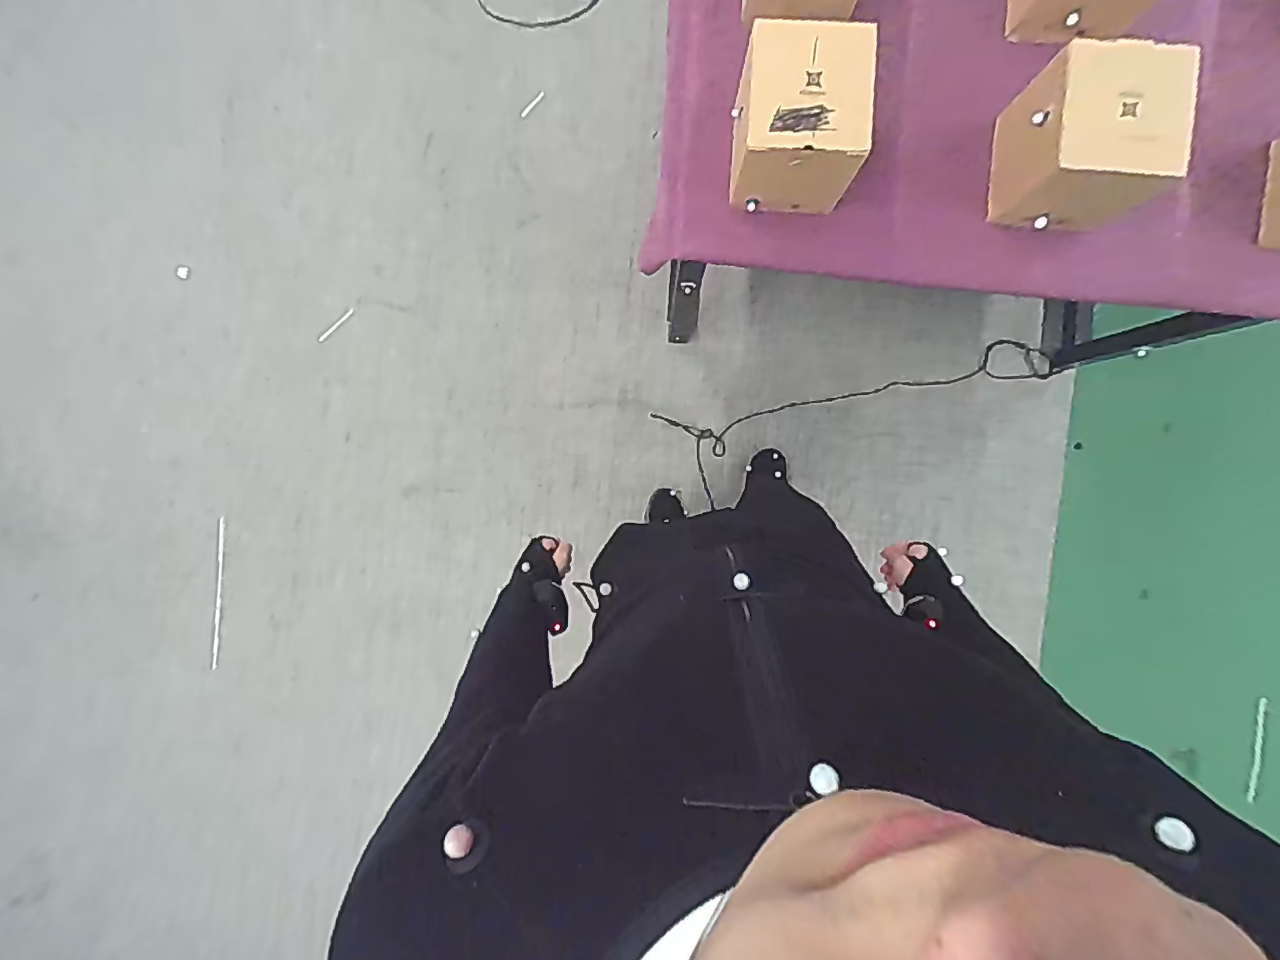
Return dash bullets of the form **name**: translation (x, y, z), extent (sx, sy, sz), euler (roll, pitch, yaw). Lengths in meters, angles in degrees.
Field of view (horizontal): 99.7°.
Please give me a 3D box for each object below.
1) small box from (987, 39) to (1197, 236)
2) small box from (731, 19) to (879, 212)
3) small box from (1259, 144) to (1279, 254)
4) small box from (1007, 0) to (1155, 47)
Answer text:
- **small box**: translation (0.642, -0.486, 0.790), extent (0.168, 0.176, 0.179), euler (6, 91, 2)
- **small box**: translation (0.229, -0.519, 0.793), extent (0.168, 0.176, 0.179), euler (3, 89, 0)
- **small box**: translation (1.070, -0.442, 0.780), extent (0.168, 0.176, 0.179), euler (8, 89, 2)
- **small box**: translation (0.671, -0.782, 0.785), extent (0.168, 0.176, 0.179), euler (4, 92, 1)
